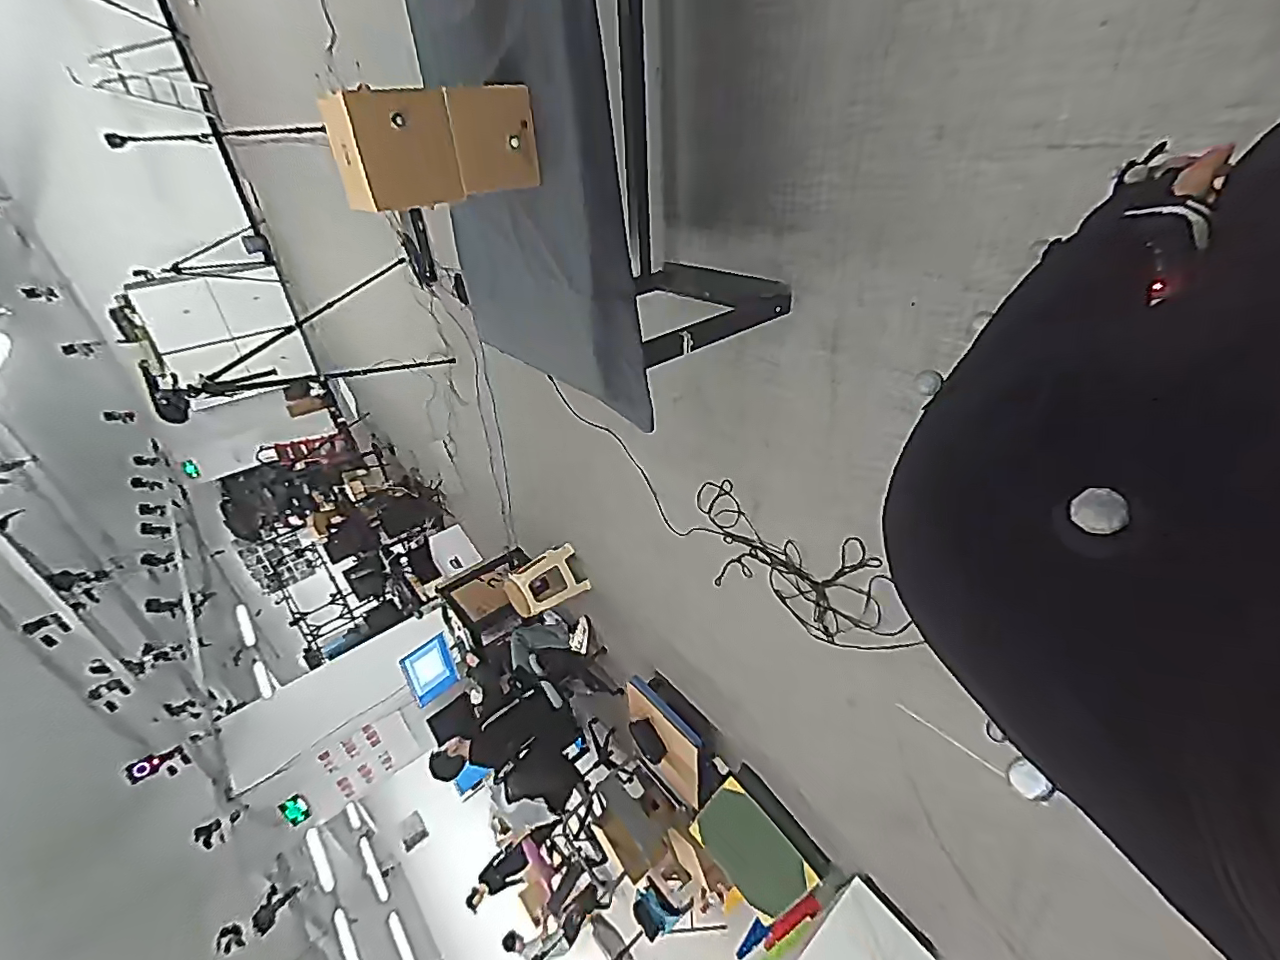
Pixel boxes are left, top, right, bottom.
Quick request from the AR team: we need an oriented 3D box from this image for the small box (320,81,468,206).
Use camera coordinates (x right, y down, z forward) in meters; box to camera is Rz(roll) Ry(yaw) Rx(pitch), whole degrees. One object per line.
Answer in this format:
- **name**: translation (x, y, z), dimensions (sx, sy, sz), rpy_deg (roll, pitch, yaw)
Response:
- **small box**: translation (-0.437, -0.606, 0.974), dimensions (0.168, 0.176, 0.179), rpy_deg (31, 138, 42)

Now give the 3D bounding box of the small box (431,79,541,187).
- **small box**: translation (-0.315, -0.676, 1.056), dimensions (0.179, 0.176, 0.168), rpy_deg (31, 137, 40)
